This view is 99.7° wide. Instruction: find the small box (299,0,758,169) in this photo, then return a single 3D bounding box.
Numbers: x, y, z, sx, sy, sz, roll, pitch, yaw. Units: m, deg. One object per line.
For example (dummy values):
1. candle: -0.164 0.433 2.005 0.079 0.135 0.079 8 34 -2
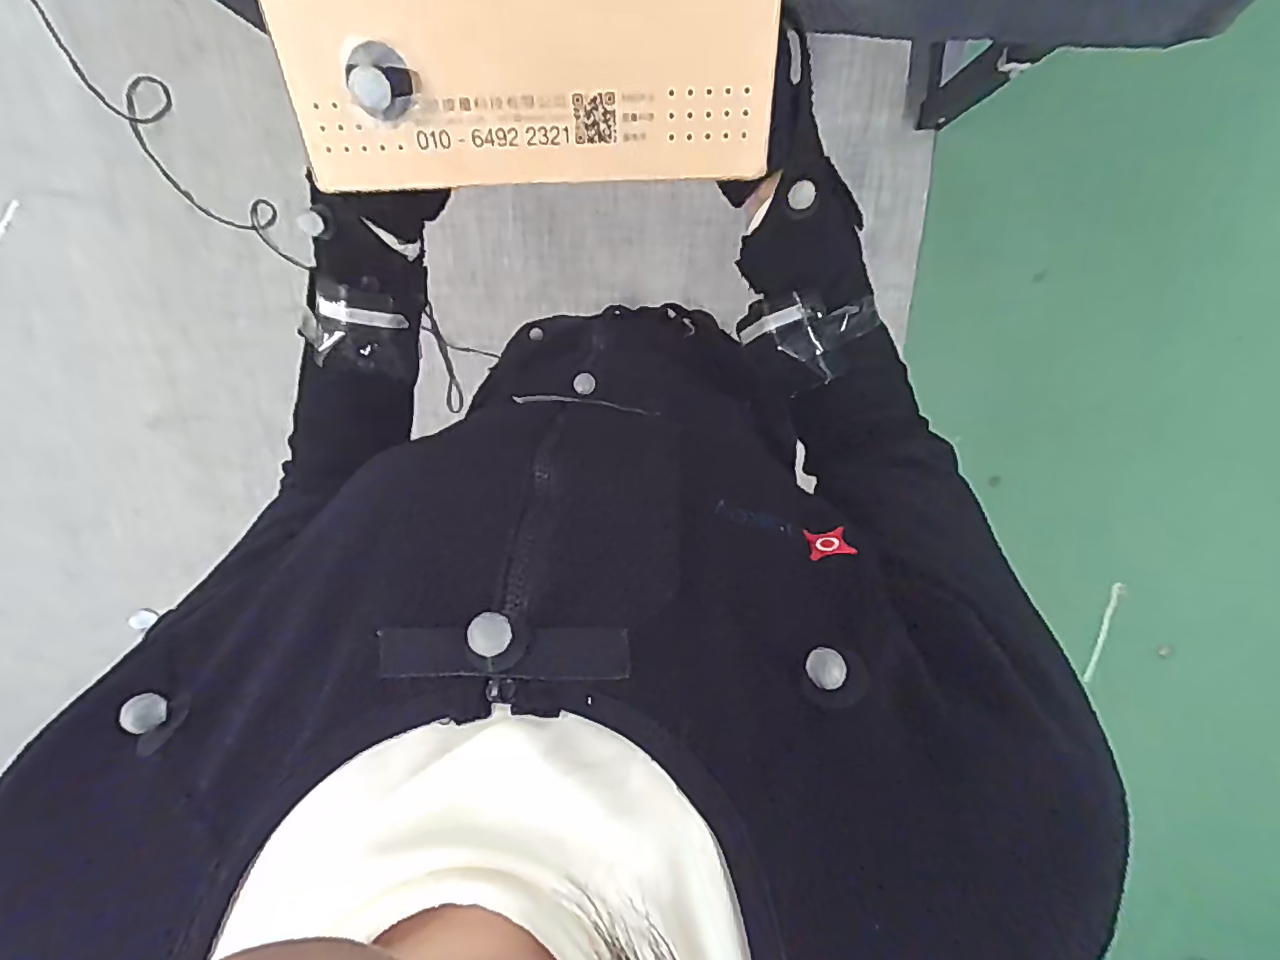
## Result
1. small box: -0.041 -0.236 0.235 0.168 0.179 0.176 -1 122 0
